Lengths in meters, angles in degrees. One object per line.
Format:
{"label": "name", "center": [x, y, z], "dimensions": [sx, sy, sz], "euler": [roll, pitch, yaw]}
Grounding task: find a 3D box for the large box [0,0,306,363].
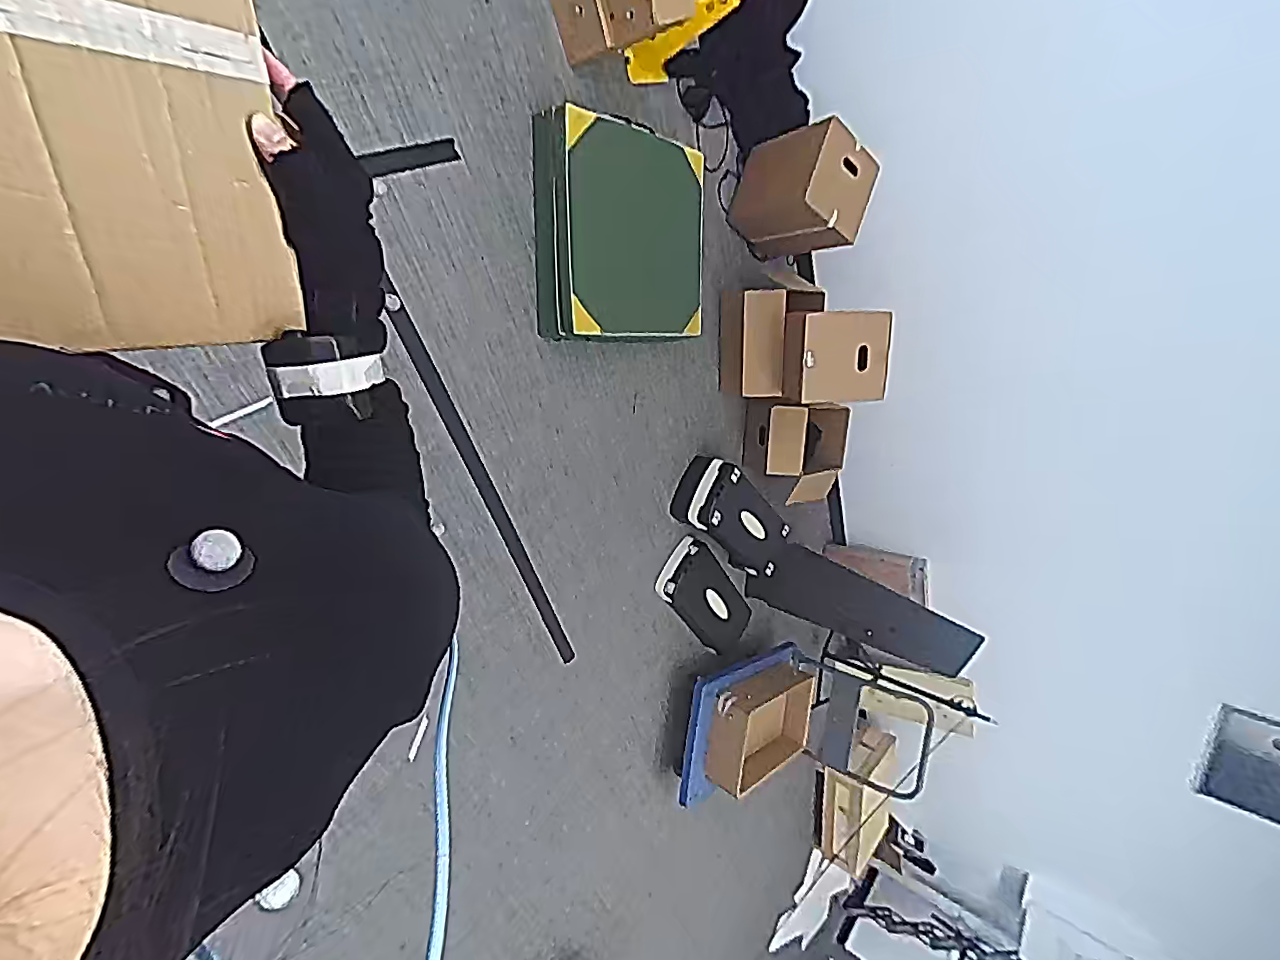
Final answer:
{"label": "large box", "center": [-0.470, -0.249, 0.288], "dimensions": [0.408, 0.320, 0.320], "euler": [-18, 128, -39]}
